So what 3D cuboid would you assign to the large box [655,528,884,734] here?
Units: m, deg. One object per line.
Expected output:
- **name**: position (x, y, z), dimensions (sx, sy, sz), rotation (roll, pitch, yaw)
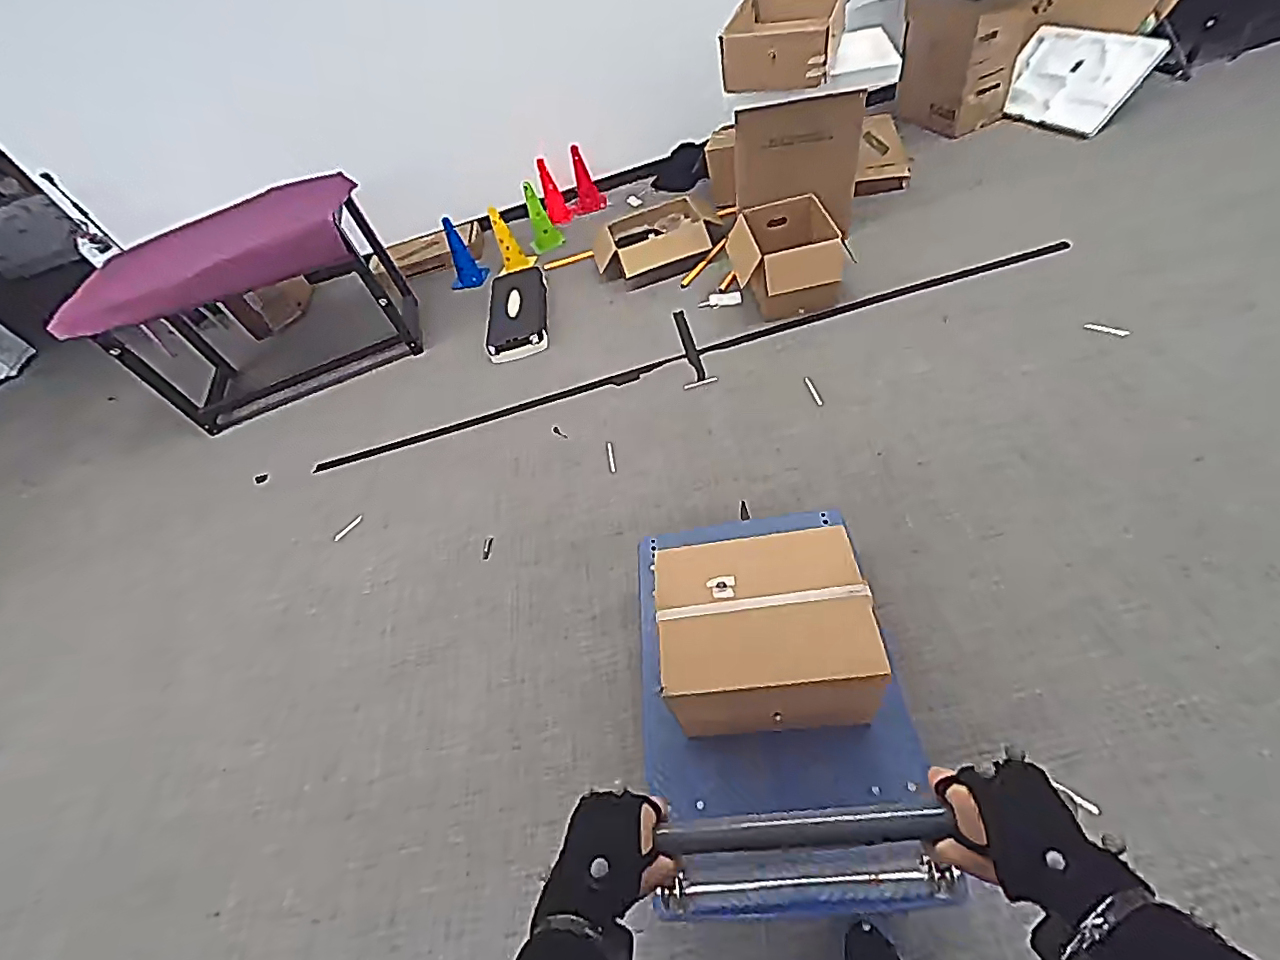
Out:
- **large box**: position (0.269, 0.344, 1.191), dimensions (0.408, 0.320, 0.320), rotation (-10, 49, 9)
